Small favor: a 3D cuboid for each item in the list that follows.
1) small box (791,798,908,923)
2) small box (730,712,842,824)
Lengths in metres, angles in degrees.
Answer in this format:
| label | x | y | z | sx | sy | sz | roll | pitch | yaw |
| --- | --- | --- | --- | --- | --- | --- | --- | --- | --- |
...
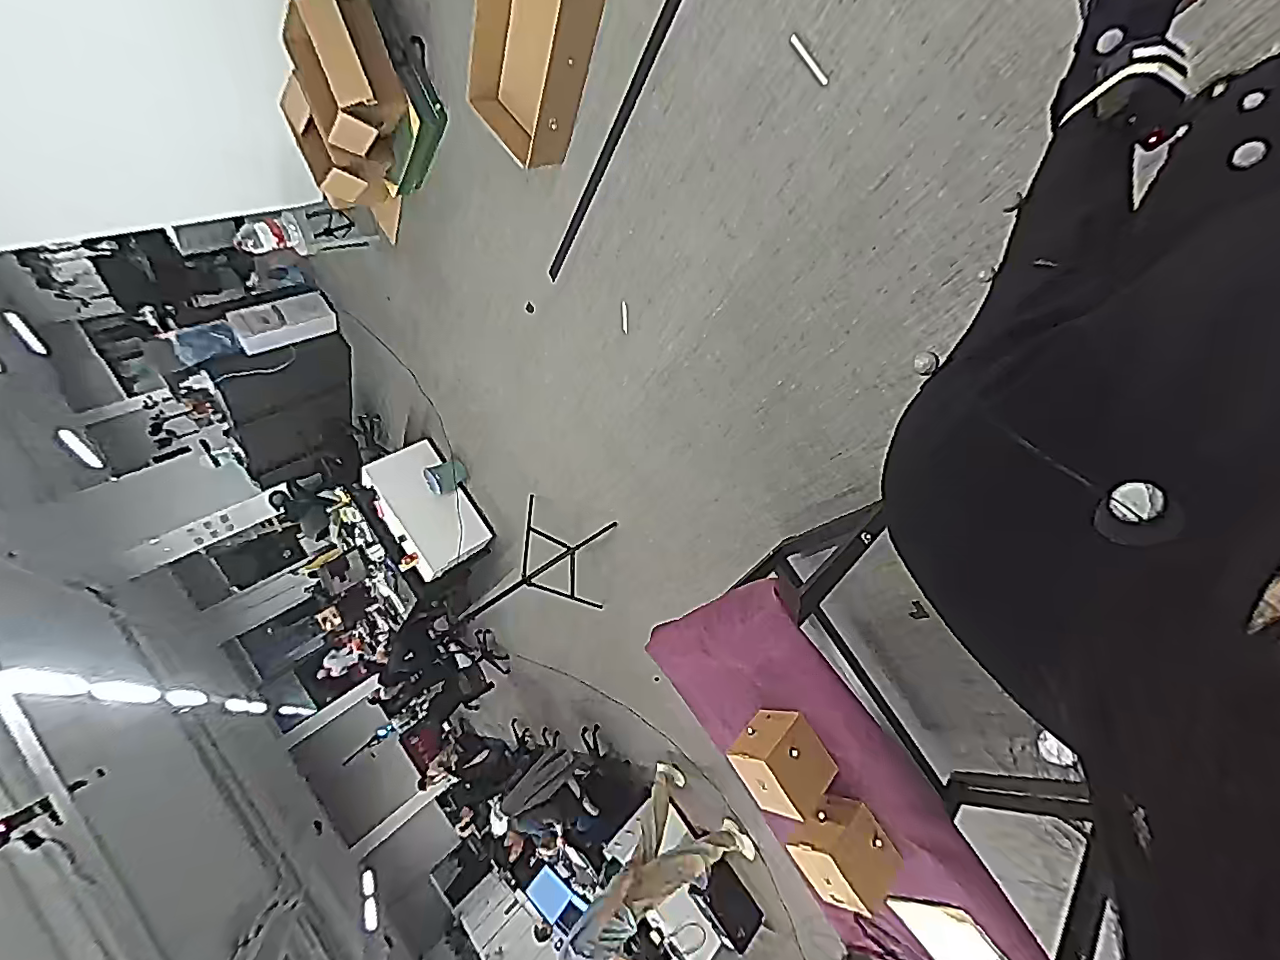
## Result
| label | x | y | z | sx | sy | sz | roll | pitch | yaw |
| --- | --- | --- | --- | --- | --- | --- | --- | --- | --- |
| small box | 0.519 | 0.930 | 1.343 | 0.179 | 0.176 | 0.168 | 55 | 147 | 4 |
| small box | 0.368 | 0.712 | 1.361 | 0.179 | 0.176 | 0.168 | 55 | 148 | 1 |
